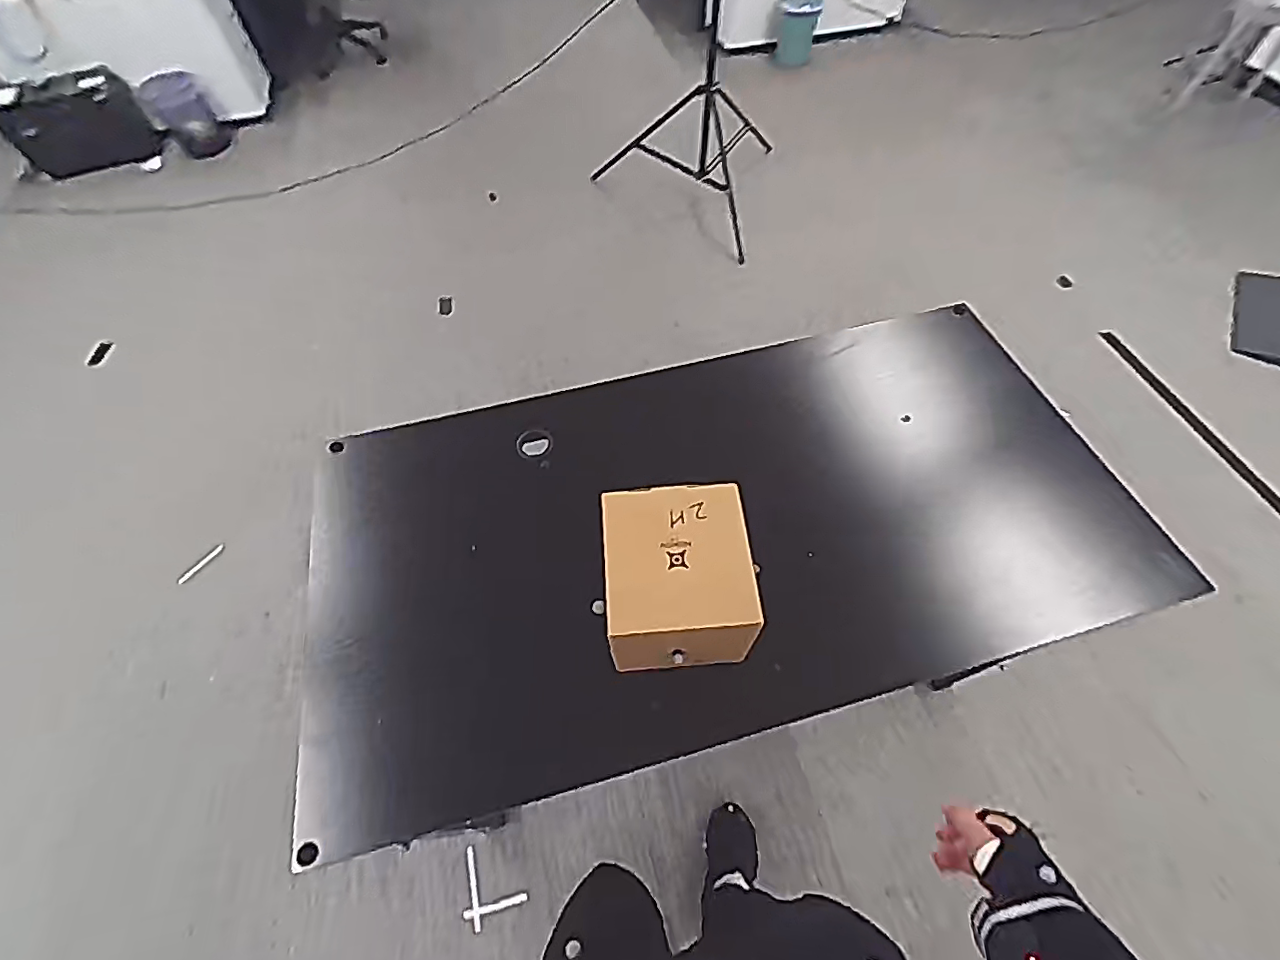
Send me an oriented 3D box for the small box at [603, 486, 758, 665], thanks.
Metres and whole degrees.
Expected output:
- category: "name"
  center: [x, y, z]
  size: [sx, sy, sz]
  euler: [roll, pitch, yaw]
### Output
- category: "small box"
  center: [0.043, 0.128, 0.680]
  size: [0.168, 0.176, 0.179]
  euler: [-4, 58, -1]
